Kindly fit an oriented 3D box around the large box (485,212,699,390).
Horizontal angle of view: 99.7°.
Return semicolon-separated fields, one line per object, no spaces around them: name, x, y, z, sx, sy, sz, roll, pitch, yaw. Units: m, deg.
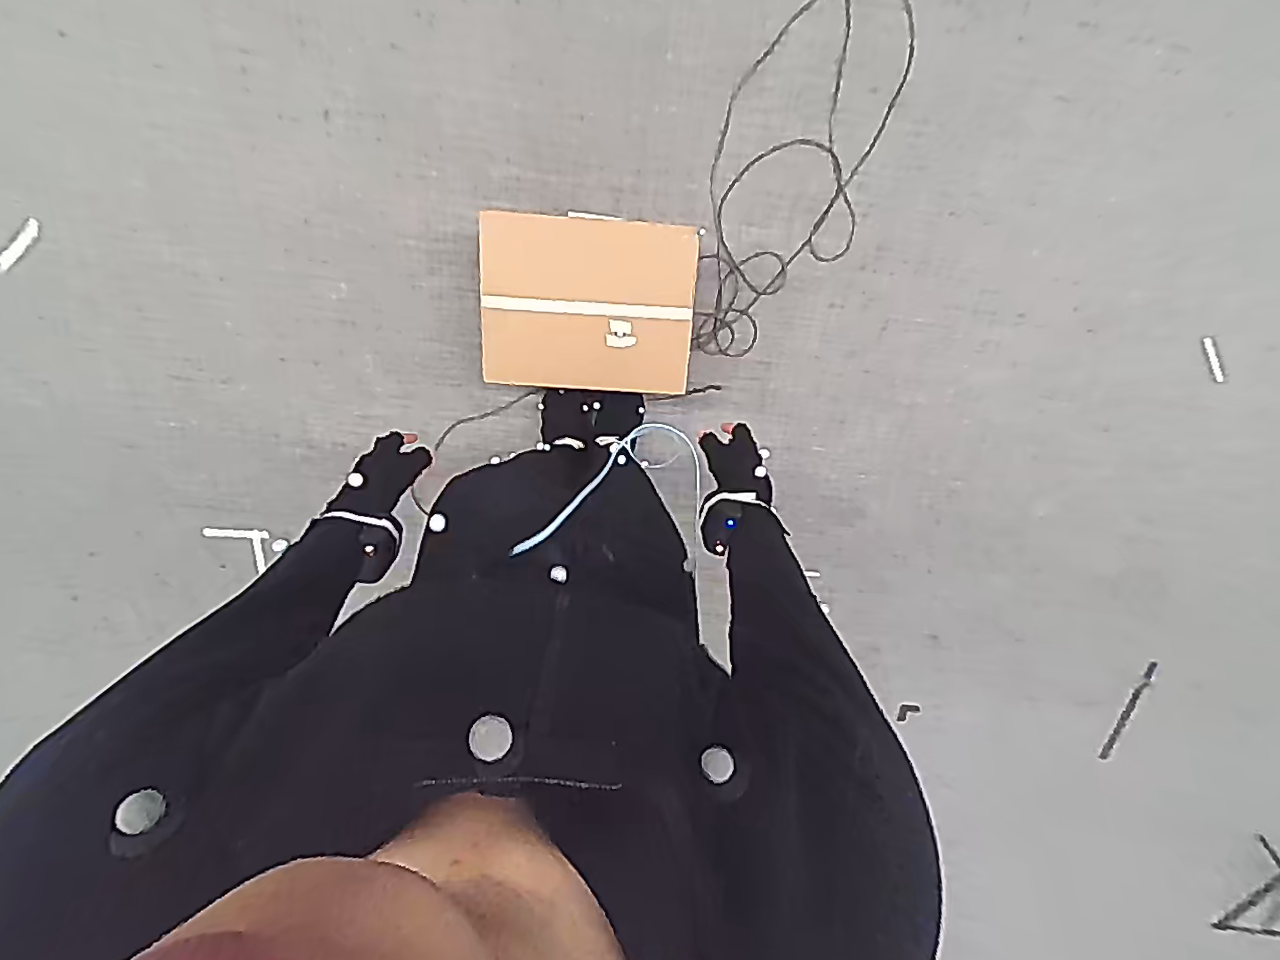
large box;-0.102;-0.381;1.186;0.408;0.320;0.320;3;108;-3
